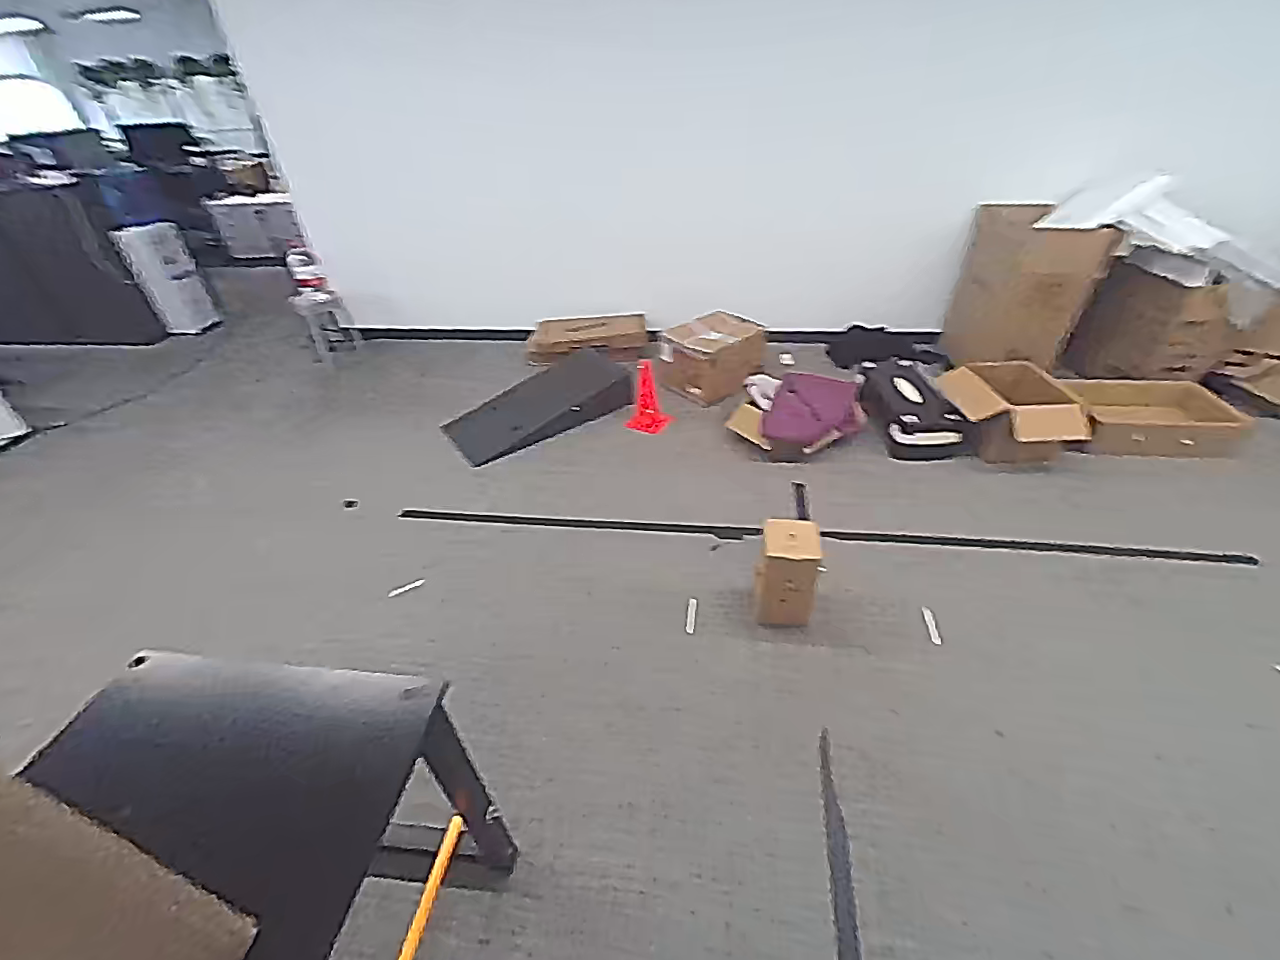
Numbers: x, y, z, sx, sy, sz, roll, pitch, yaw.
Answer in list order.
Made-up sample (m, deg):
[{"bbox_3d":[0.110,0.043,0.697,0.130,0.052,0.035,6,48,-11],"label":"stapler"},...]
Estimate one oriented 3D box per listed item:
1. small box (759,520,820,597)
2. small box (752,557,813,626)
[{"bbox_3d":[0.477,0.252,1.749,0.168,0.176,0.179,3,38,8],"label":"small box"},{"bbox_3d":[0.480,0.383,1.849,0.179,0.176,0.168,1,37,5],"label":"small box"}]
